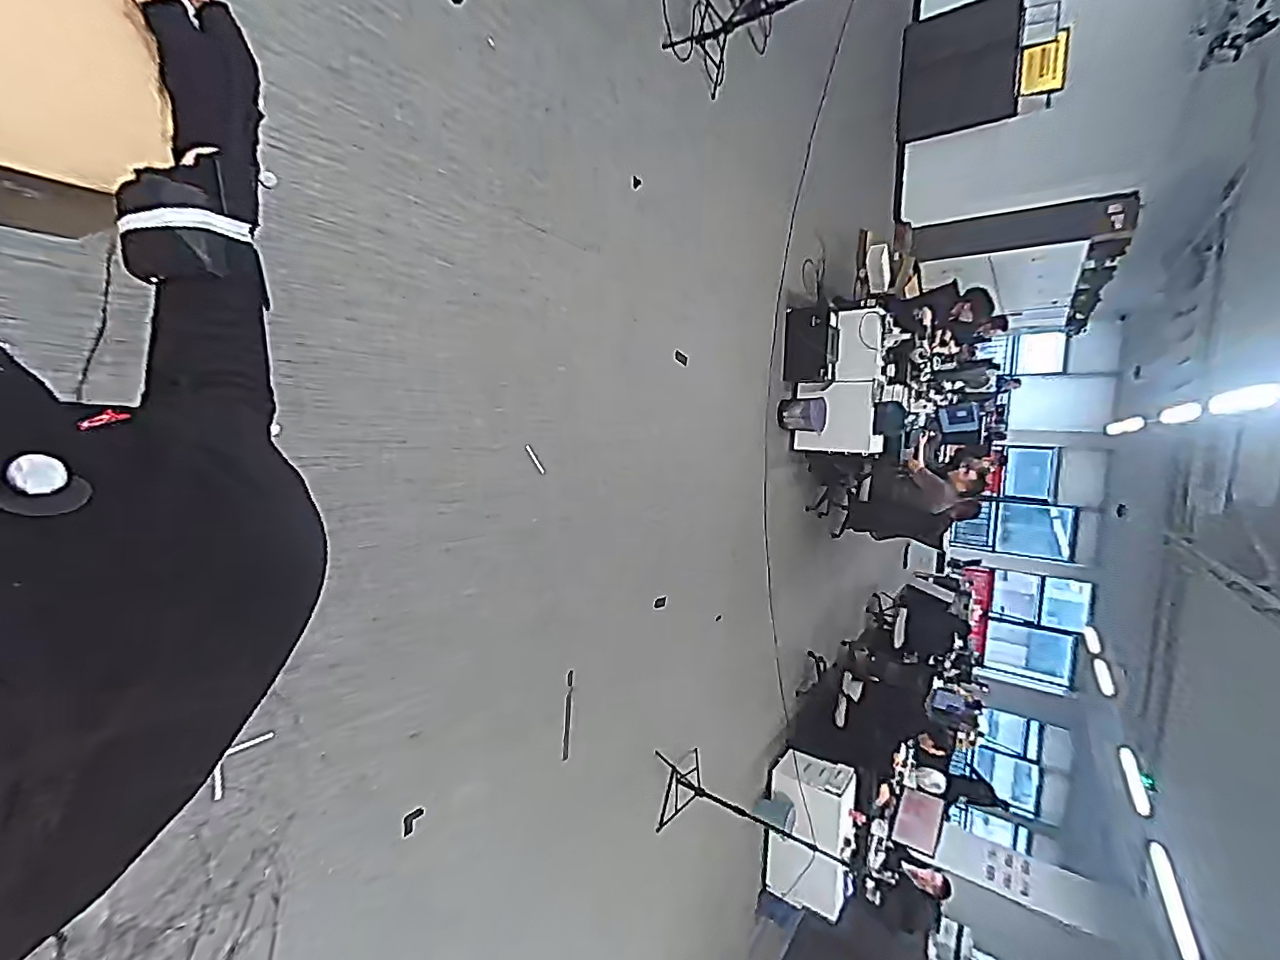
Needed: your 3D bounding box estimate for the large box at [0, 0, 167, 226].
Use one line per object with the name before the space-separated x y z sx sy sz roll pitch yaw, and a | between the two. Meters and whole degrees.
large box | -0.584 -0.373 0.308 0.408 0.320 0.320 -8 108 -56
